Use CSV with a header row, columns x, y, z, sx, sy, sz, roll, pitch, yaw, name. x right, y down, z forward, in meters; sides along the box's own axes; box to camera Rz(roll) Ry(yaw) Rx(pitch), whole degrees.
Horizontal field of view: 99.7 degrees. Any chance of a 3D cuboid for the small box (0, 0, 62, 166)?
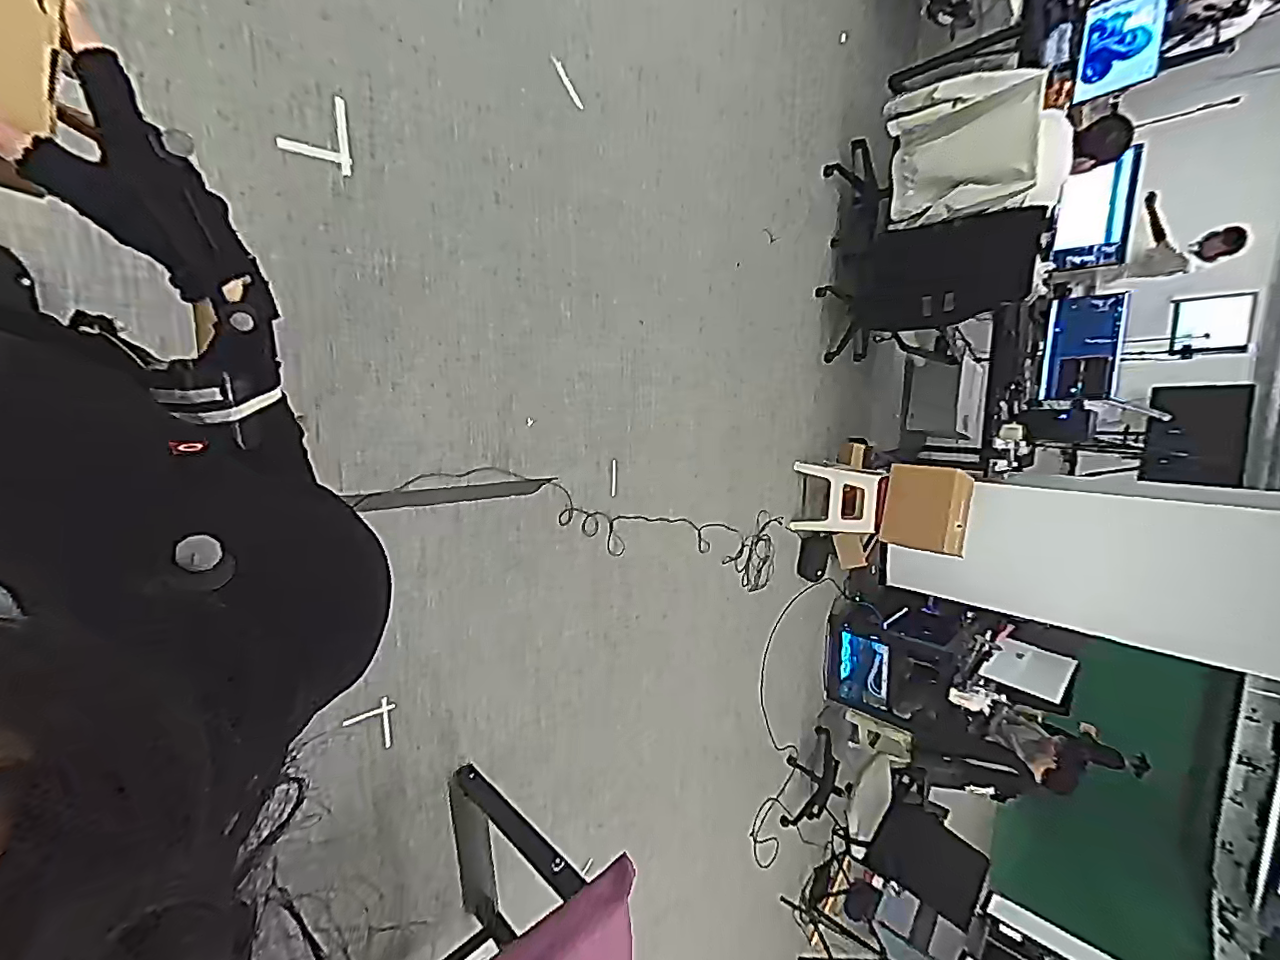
x,y,z,sx,sy,sz,roll,pitch,yaw,name
-0.438,-0.291,0.283,0.179,0.176,0.168,3,99,-51,small box
